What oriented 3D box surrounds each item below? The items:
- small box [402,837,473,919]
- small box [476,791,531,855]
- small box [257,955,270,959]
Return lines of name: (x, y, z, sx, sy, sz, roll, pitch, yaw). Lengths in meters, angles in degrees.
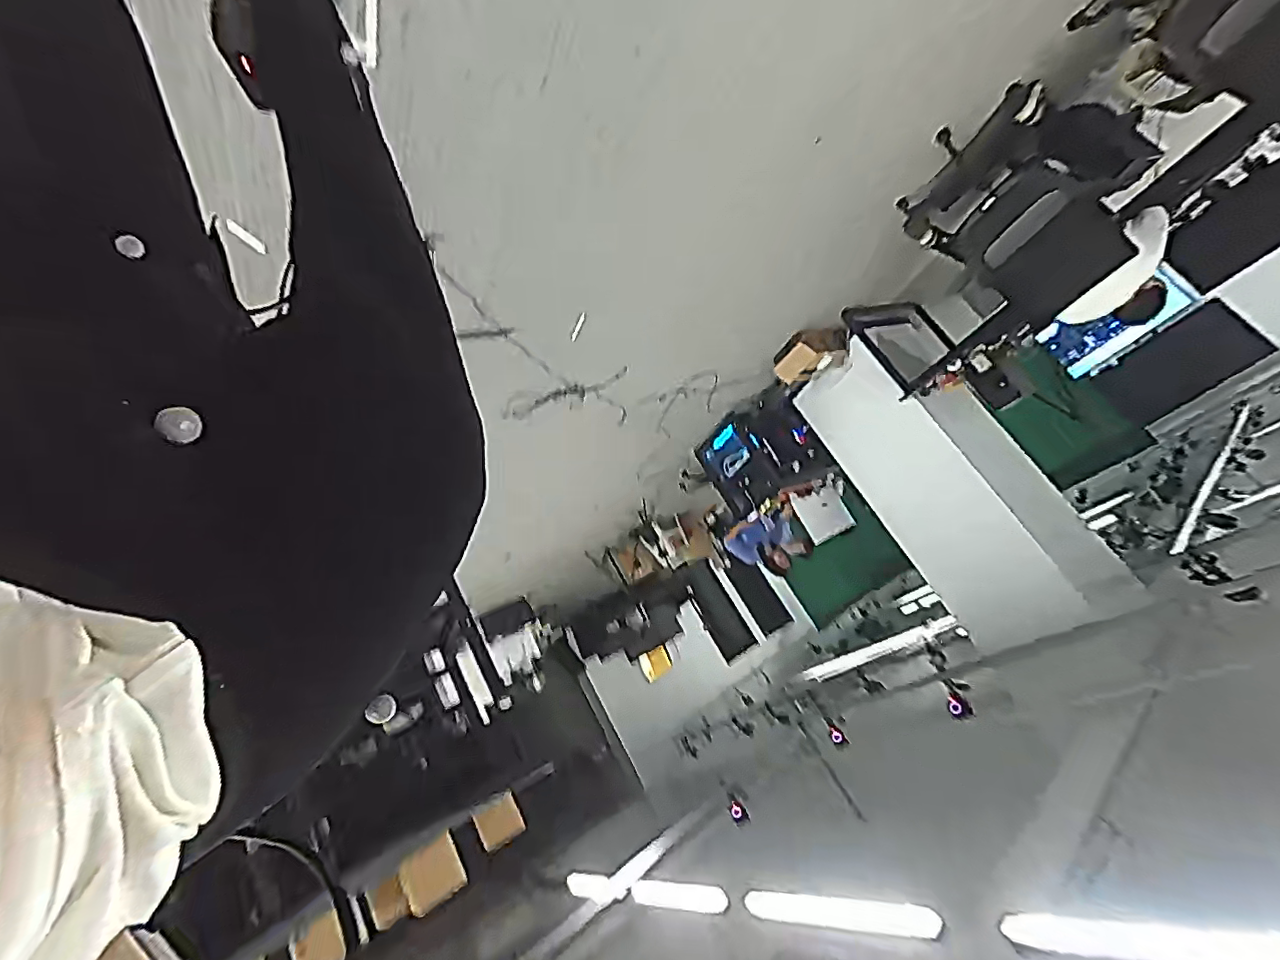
small box: (-0.711, 1.381, 1.884, 0.168, 0.176, 0.179, -18, 160, -41)
small box: (-0.585, 1.451, 2.294, 0.168, 0.176, 0.179, -22, 160, -29)
small box: (-1.199, 1.585, 1.635, 0.168, 0.176, 0.179, -15, 156, -43)
